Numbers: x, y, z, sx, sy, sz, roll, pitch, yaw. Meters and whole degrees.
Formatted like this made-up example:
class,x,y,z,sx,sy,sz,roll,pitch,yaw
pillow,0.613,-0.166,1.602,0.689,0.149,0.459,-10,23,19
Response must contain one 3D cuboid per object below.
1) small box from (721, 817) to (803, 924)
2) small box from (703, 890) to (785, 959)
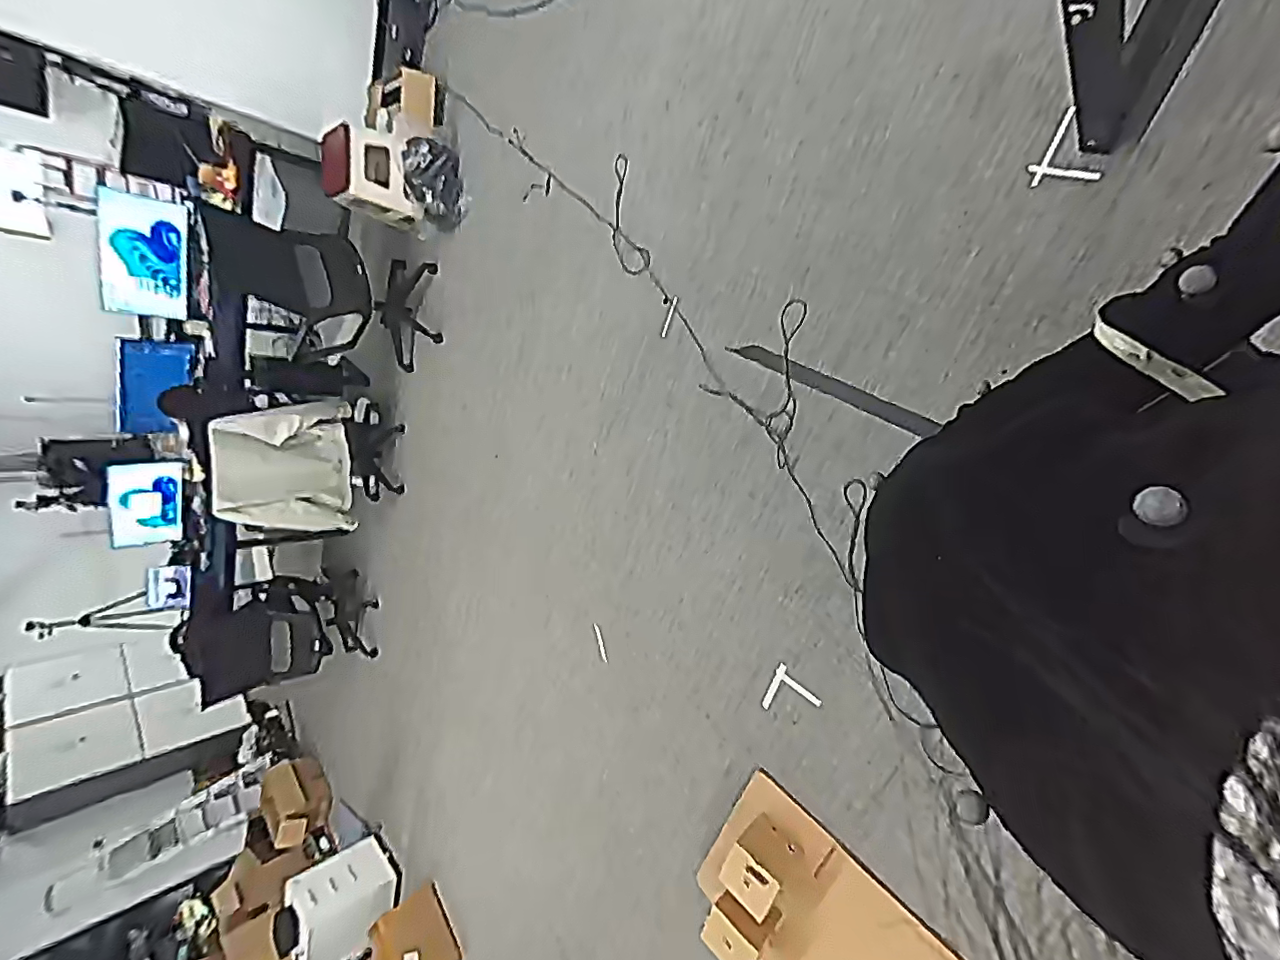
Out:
class,x,y,z,sx,sy,sz,roll,pitch,yaw
small box,0.384,1.202,1.682,0.168,0.176,0.179,31,114,35
small box,0.338,1.448,1.752,0.179,0.176,0.168,27,113,36
